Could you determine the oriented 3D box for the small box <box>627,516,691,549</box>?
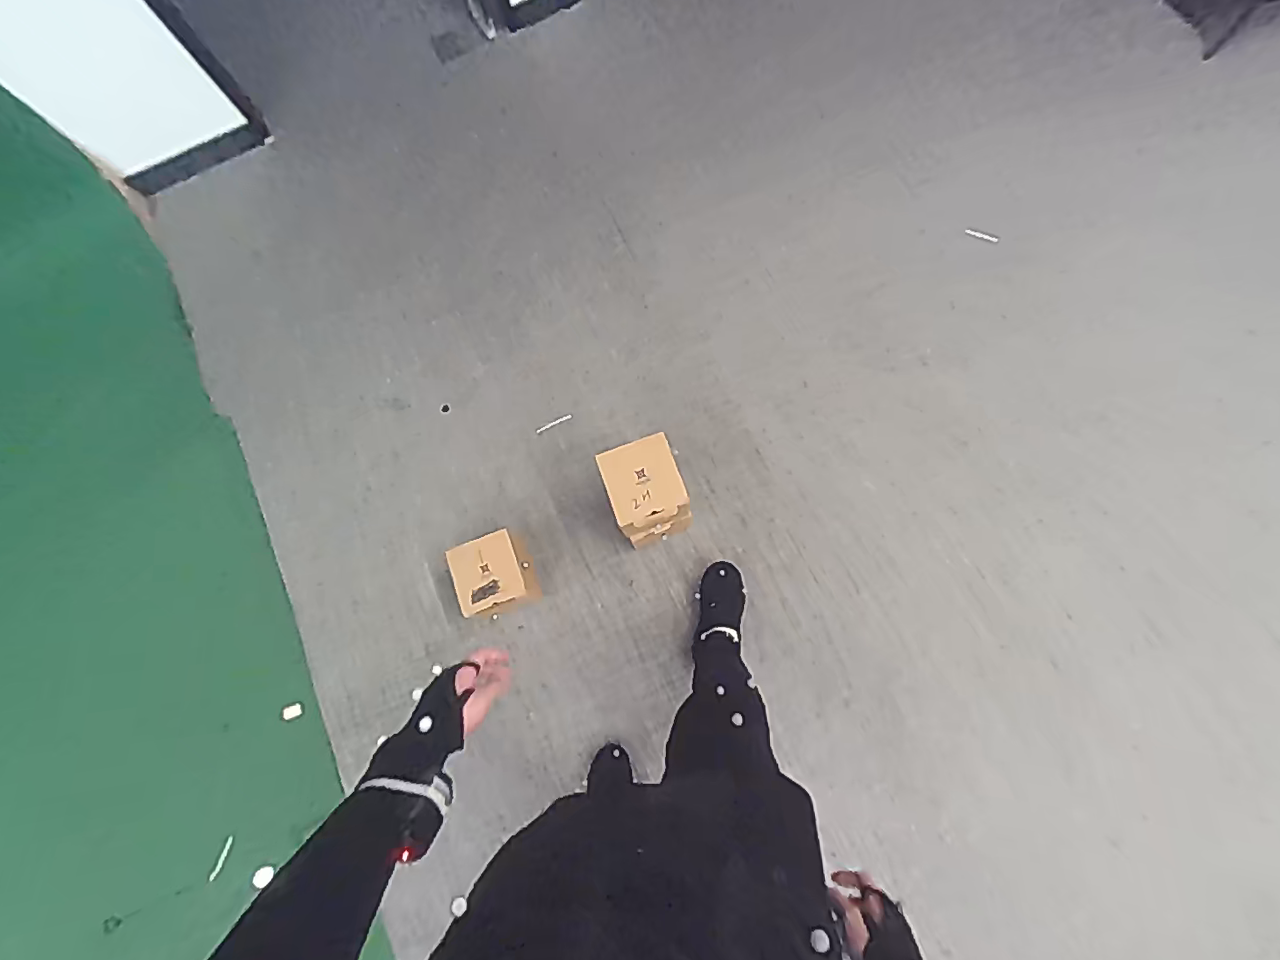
[{"bbox_3d":[0.026,0.075,1.426,0.168,0.176,0.179,-23,76,-3],"label":"small box"}]

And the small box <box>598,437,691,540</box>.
[{"bbox_3d":[0.012,0.026,1.269,0.168,0.176,0.179,-19,76,0],"label":"small box"}]

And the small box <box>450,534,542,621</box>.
[{"bbox_3d":[-0.371,0.259,1.422,0.168,0.176,0.179,-20,75,-3],"label":"small box"}]
